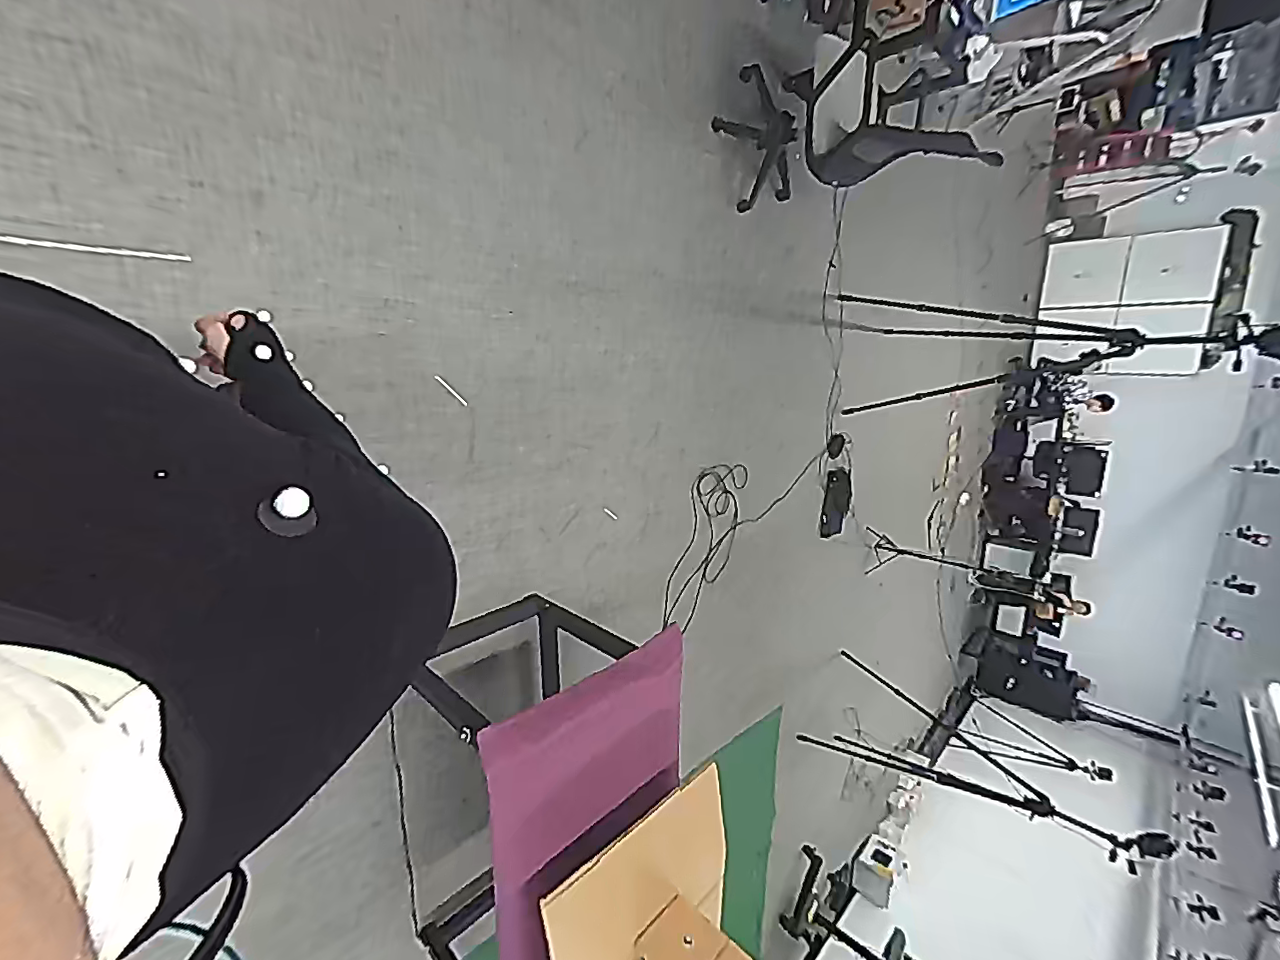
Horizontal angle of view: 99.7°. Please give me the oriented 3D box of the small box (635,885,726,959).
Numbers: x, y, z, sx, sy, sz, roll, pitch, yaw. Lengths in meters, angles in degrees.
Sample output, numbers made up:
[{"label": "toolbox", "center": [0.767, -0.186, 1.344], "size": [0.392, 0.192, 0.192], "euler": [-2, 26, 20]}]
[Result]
[{"label": "small box", "center": [0.100, 1.218, 1.397], "size": [0.179, 0.176, 0.168], "euler": [-16, 114, -44]}]
